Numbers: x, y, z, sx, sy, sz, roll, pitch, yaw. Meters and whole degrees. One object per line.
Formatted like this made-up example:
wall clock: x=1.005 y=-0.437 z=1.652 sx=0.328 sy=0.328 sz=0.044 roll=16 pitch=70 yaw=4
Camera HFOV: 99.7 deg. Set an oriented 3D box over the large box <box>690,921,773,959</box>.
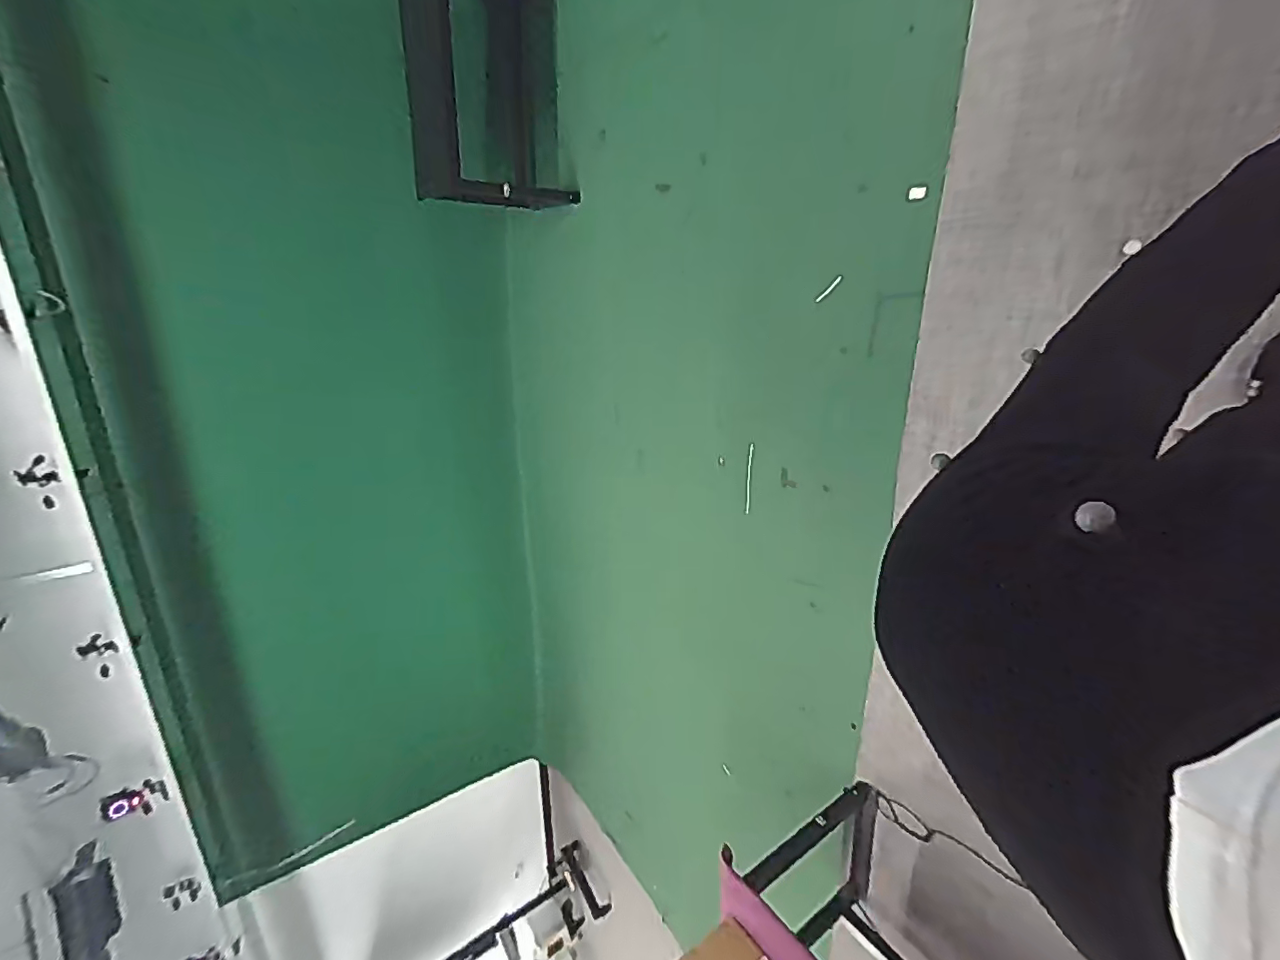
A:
large box: x=0.272 y=1.620 z=1.546 sx=0.320 sy=0.320 sz=0.408 roll=21 pitch=117 yaw=50
